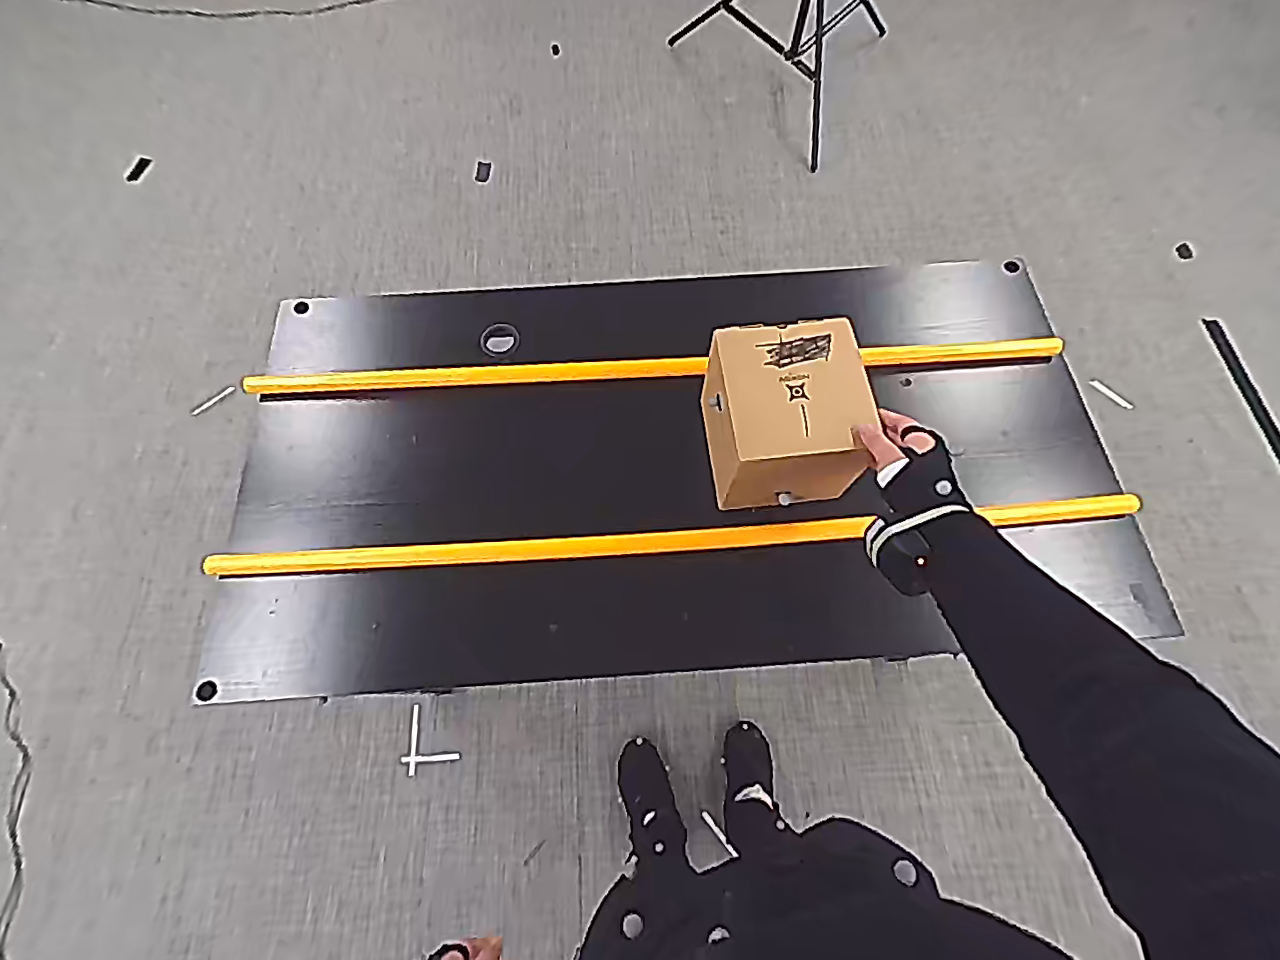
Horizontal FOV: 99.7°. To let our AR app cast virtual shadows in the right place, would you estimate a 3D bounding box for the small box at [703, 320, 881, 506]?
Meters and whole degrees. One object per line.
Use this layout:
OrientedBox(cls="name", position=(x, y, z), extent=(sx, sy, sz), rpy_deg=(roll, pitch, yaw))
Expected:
OrientedBox(cls="small box", position=(0.179, -0.080, 0.699), extent=(0.168, 0.176, 0.179), rpy_deg=(-6, 69, -1))
